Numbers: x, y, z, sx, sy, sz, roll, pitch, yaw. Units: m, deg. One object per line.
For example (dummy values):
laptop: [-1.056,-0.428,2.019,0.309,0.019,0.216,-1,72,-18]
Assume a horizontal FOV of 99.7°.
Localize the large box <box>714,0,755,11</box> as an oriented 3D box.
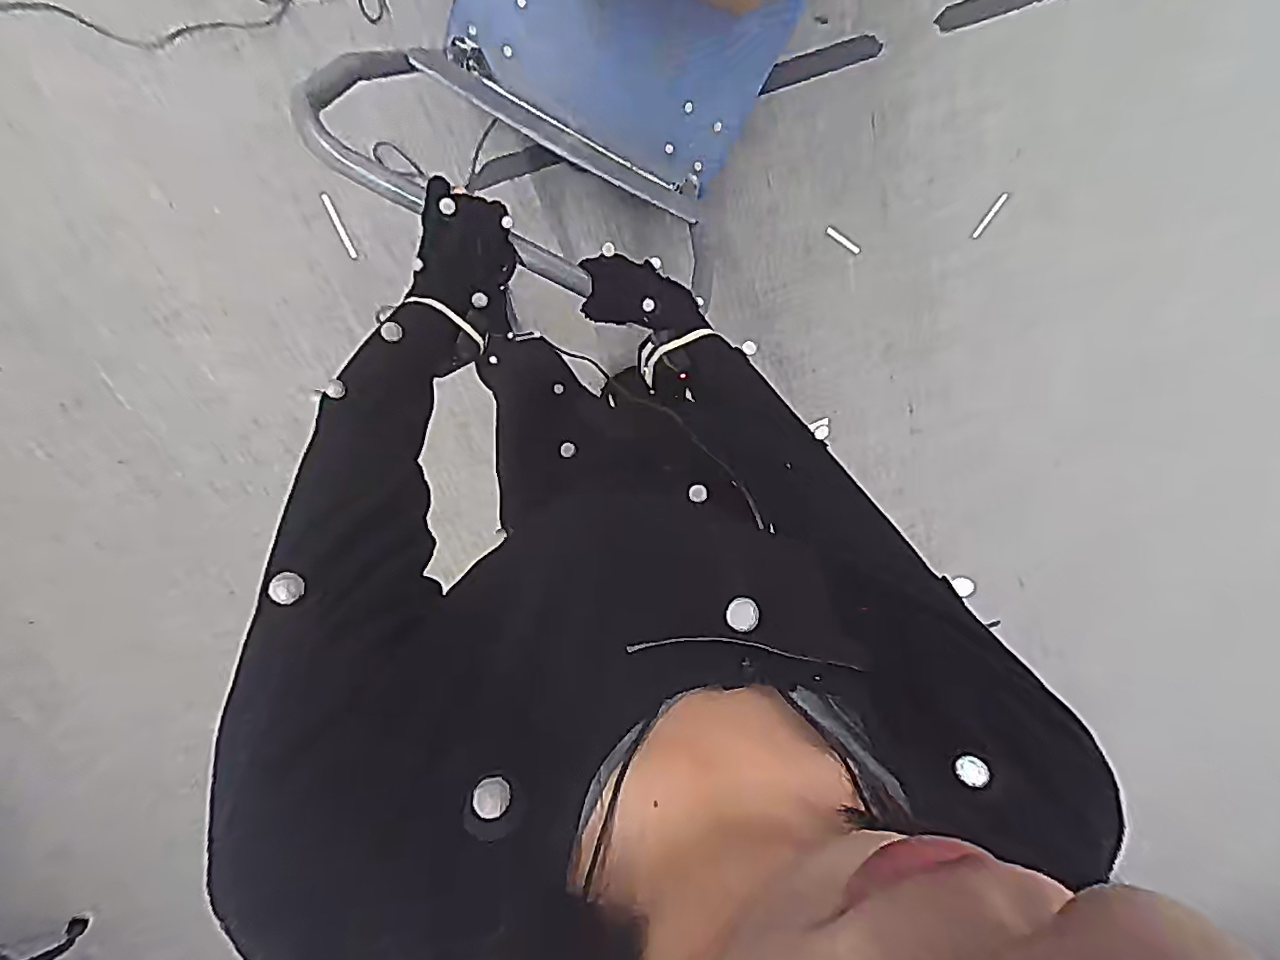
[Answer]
large box: [0.053,-0.947,0.760,0.408,0.320,0.320,16,125,-12]
